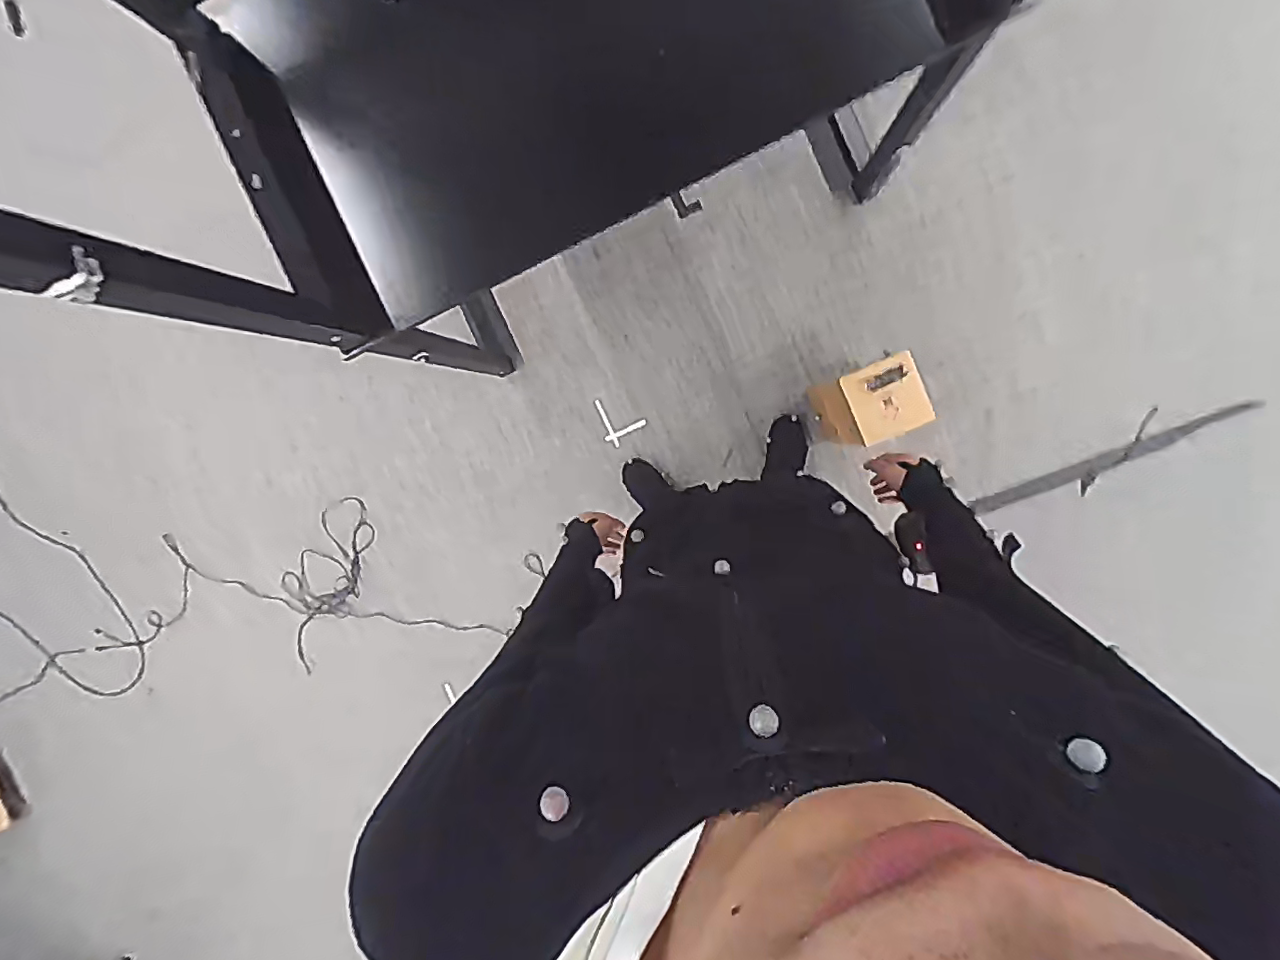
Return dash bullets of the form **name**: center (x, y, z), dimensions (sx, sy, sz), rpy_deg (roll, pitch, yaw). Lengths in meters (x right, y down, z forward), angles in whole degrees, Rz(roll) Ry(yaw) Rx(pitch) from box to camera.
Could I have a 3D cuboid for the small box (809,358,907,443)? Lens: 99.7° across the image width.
- **small box**: center (0.583, -0.213, 1.467), dimensions (0.179, 0.176, 0.168), rpy_deg (-26, 93, 10)
